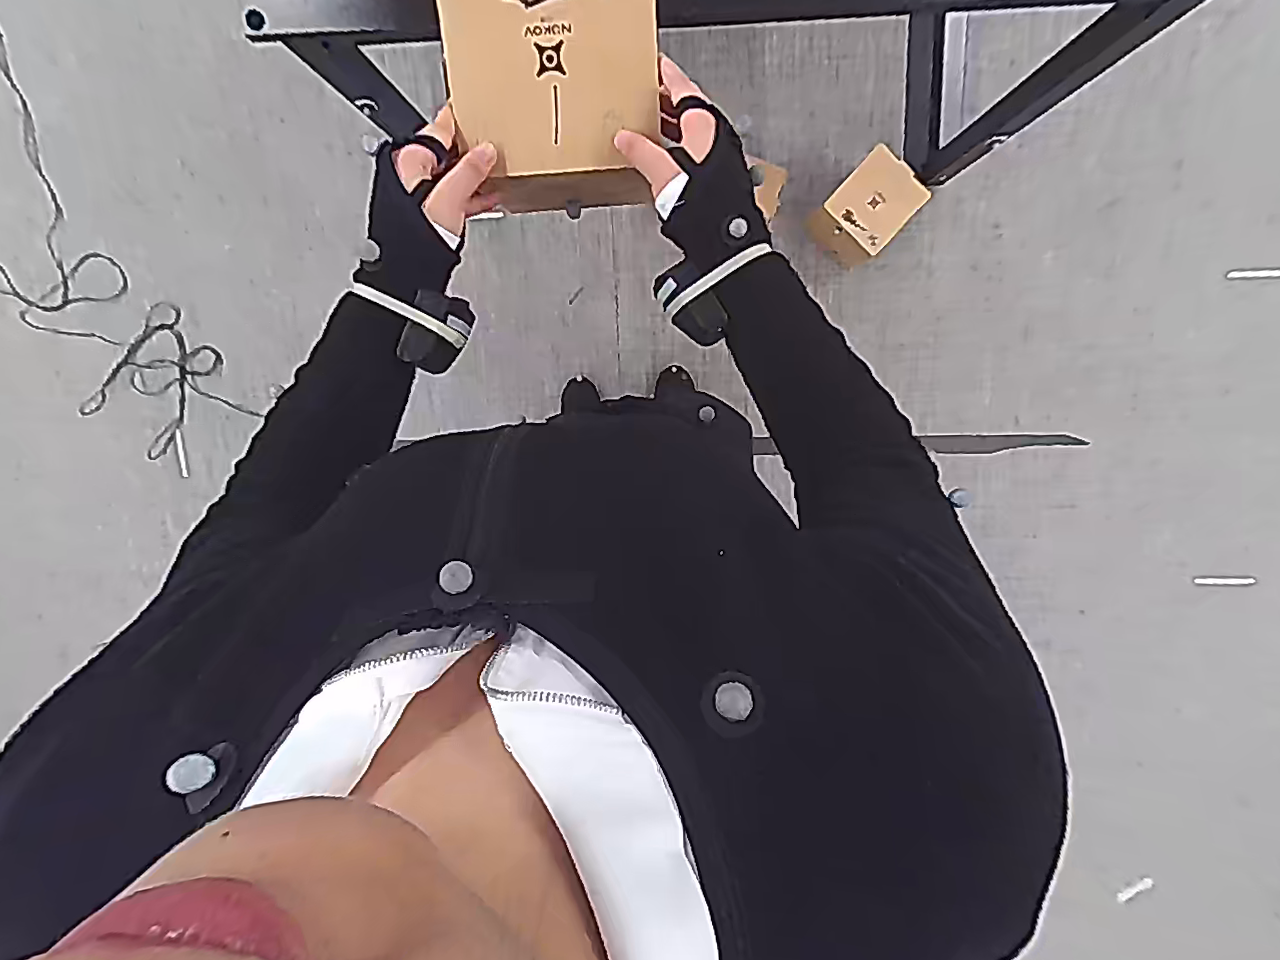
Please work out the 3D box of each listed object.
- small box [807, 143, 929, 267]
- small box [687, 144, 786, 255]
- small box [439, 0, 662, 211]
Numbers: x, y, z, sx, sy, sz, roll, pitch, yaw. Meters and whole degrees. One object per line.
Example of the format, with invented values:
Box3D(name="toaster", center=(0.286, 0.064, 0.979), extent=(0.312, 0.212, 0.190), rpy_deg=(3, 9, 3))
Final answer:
Box3D(name="small box", center=(0.523, -0.634, 1.271), extent=(0.168, 0.176, 0.179), rpy_deg=(42, 100, -5))
Box3D(name="small box", center=(0.220, -0.652, 1.284), extent=(0.179, 0.176, 0.168), rpy_deg=(20, 100, 0))
Box3D(name="small box", center=(-0.068, -0.357, 0.488), extent=(0.168, 0.176, 0.179), rpy_deg=(-3, 109, 2))
